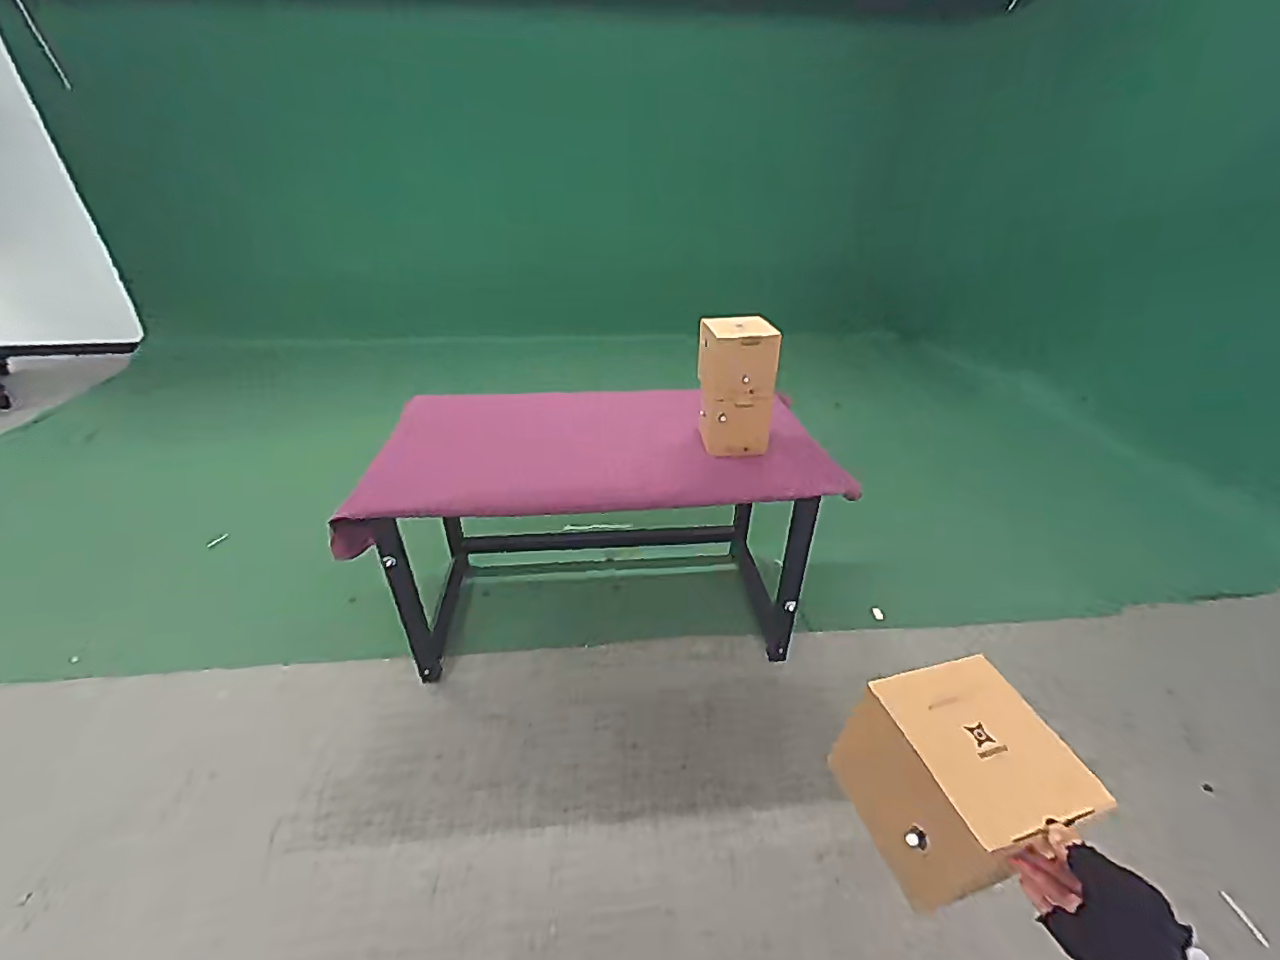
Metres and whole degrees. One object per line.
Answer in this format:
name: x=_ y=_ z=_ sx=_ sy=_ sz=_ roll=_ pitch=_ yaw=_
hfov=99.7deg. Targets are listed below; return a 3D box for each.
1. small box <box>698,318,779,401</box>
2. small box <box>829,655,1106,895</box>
small box: x=0.253 y=-0.322 z=1.440 sx=0.168 sy=0.176 sz=0.179 roll=-5 pitch=33 yaw=-7
small box: x=0.347 y=0.334 z=0.614 sx=0.168 sy=0.176 sz=0.179 roll=-6 pitch=38 yaw=-16
